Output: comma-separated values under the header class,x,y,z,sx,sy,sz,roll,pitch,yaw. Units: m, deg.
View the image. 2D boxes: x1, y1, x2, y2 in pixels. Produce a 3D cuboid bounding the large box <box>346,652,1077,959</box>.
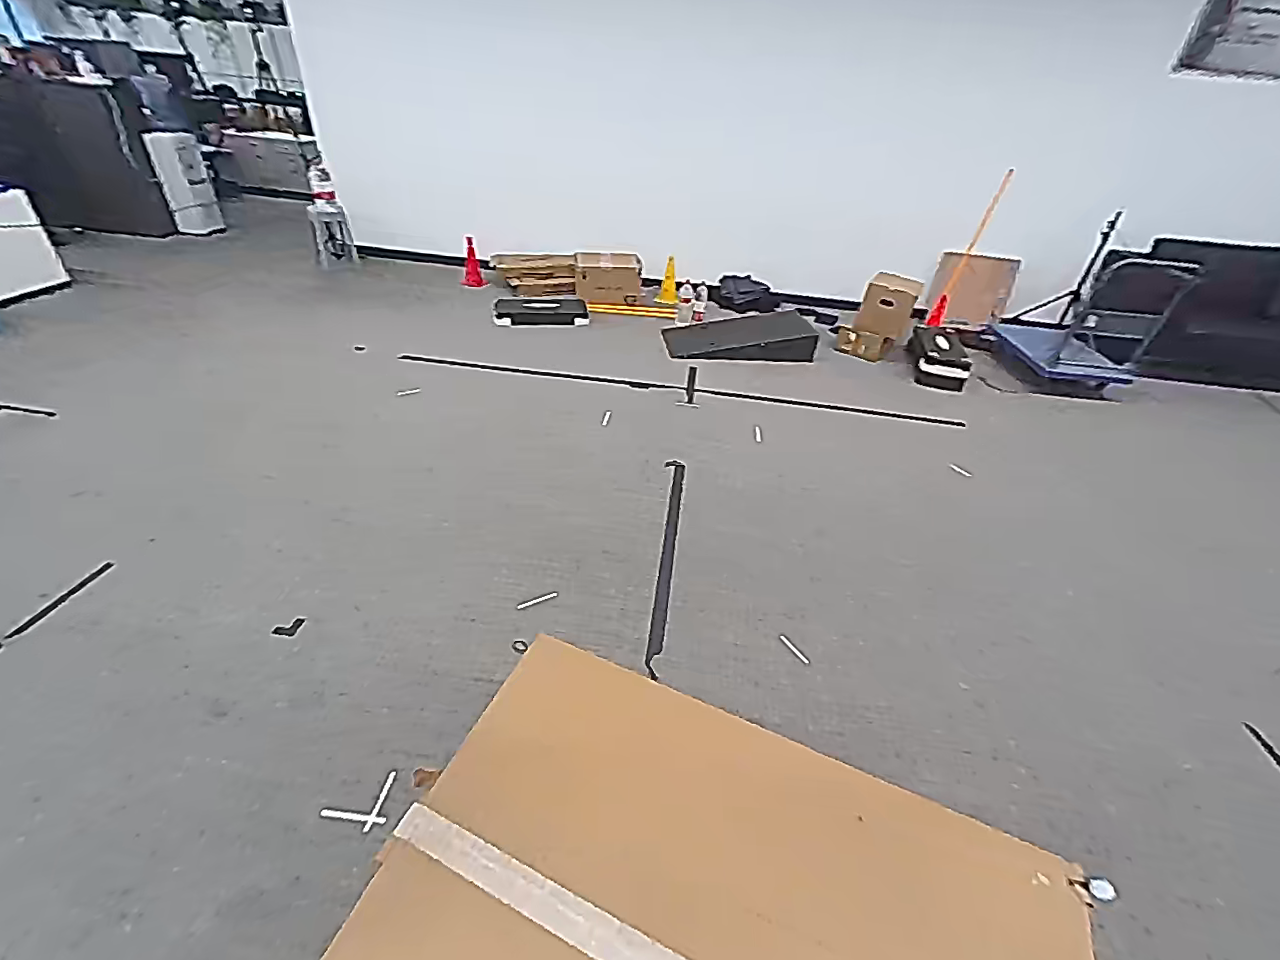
class,x,y,z,sx,sy,sz,roll,pitch,yaw
large box,0.032,0.401,0.406,0.408,0.320,0.320,17,46,16
